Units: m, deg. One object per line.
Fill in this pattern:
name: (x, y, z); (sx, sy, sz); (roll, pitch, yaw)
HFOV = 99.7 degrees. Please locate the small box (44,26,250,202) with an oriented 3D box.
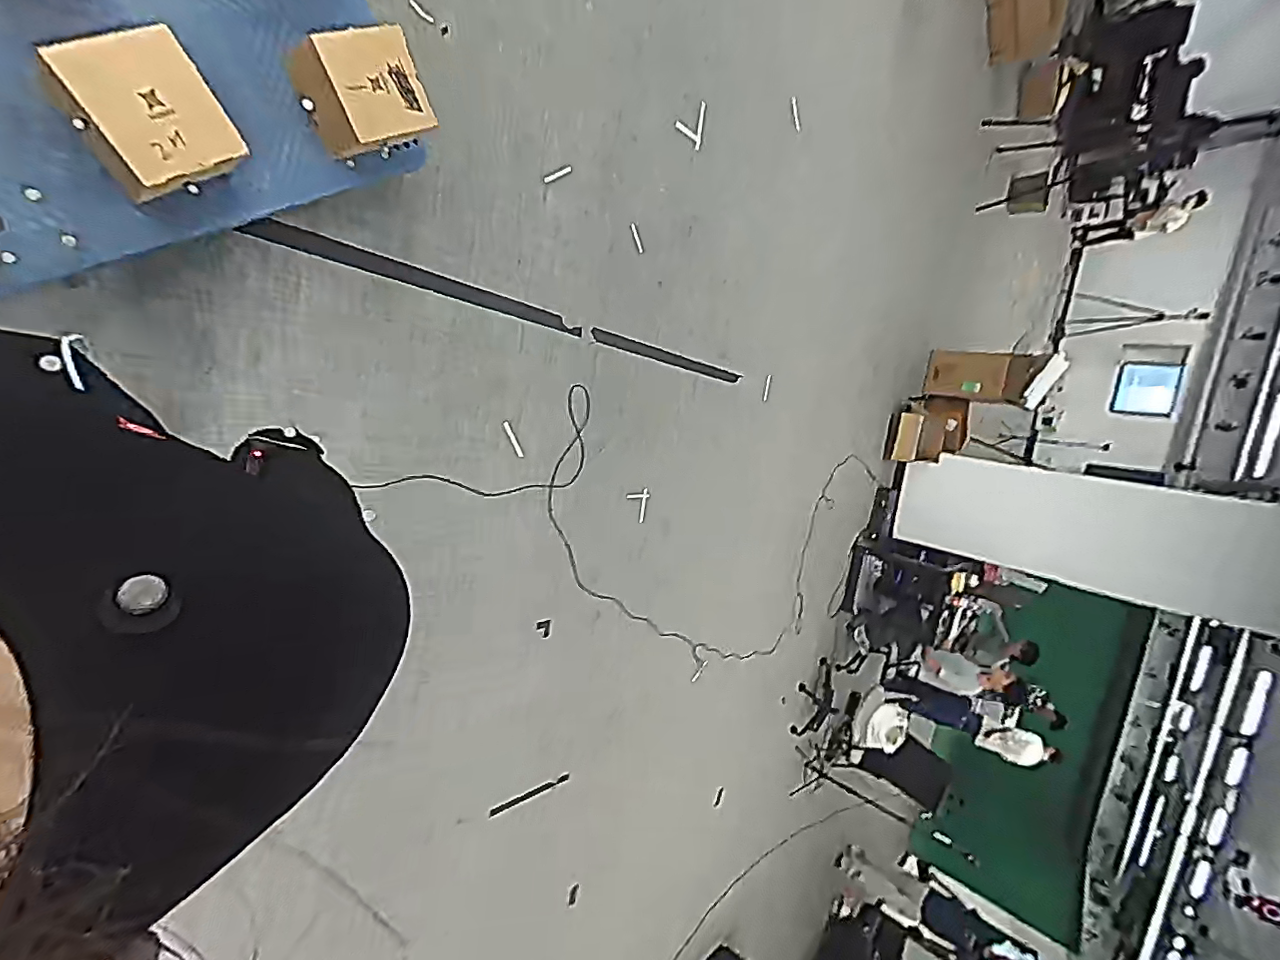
small box: (-0.774, -0.566, 0.852); (0.168, 0.176, 0.179); (-46, 131, -30)

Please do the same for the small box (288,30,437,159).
small box: (-0.542, -0.750, 1.060); (0.179, 0.176, 0.168); (-40, 128, -33)
